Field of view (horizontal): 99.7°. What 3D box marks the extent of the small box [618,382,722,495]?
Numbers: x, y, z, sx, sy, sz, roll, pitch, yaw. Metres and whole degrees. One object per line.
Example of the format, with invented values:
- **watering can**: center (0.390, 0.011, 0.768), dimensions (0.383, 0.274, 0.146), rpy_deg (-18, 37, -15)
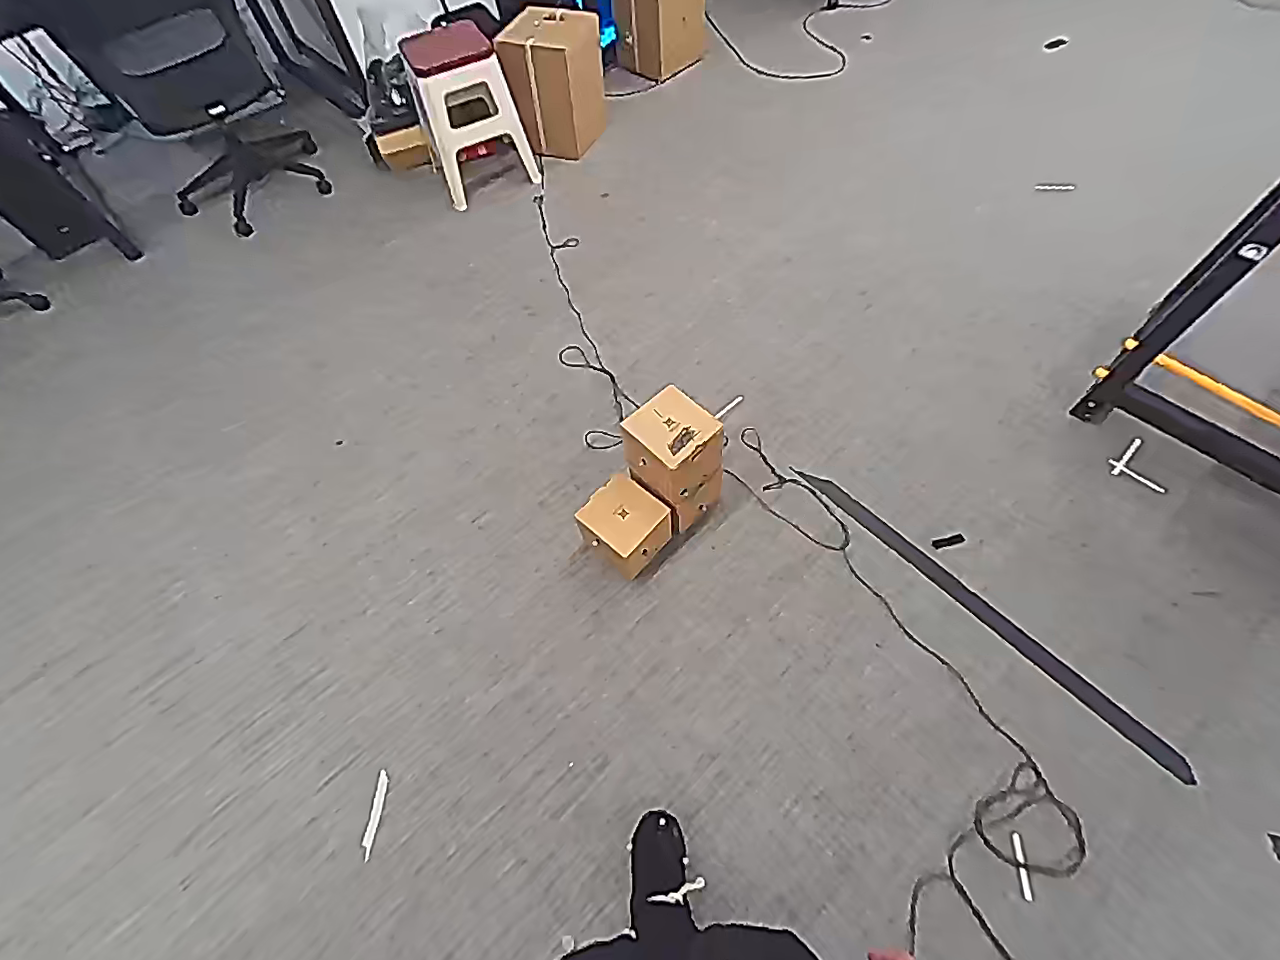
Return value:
- **small box**: center (0.073, -0.088, 1.273), dimensions (0.168, 0.176, 0.179), rpy_deg (-40, 64, -17)
